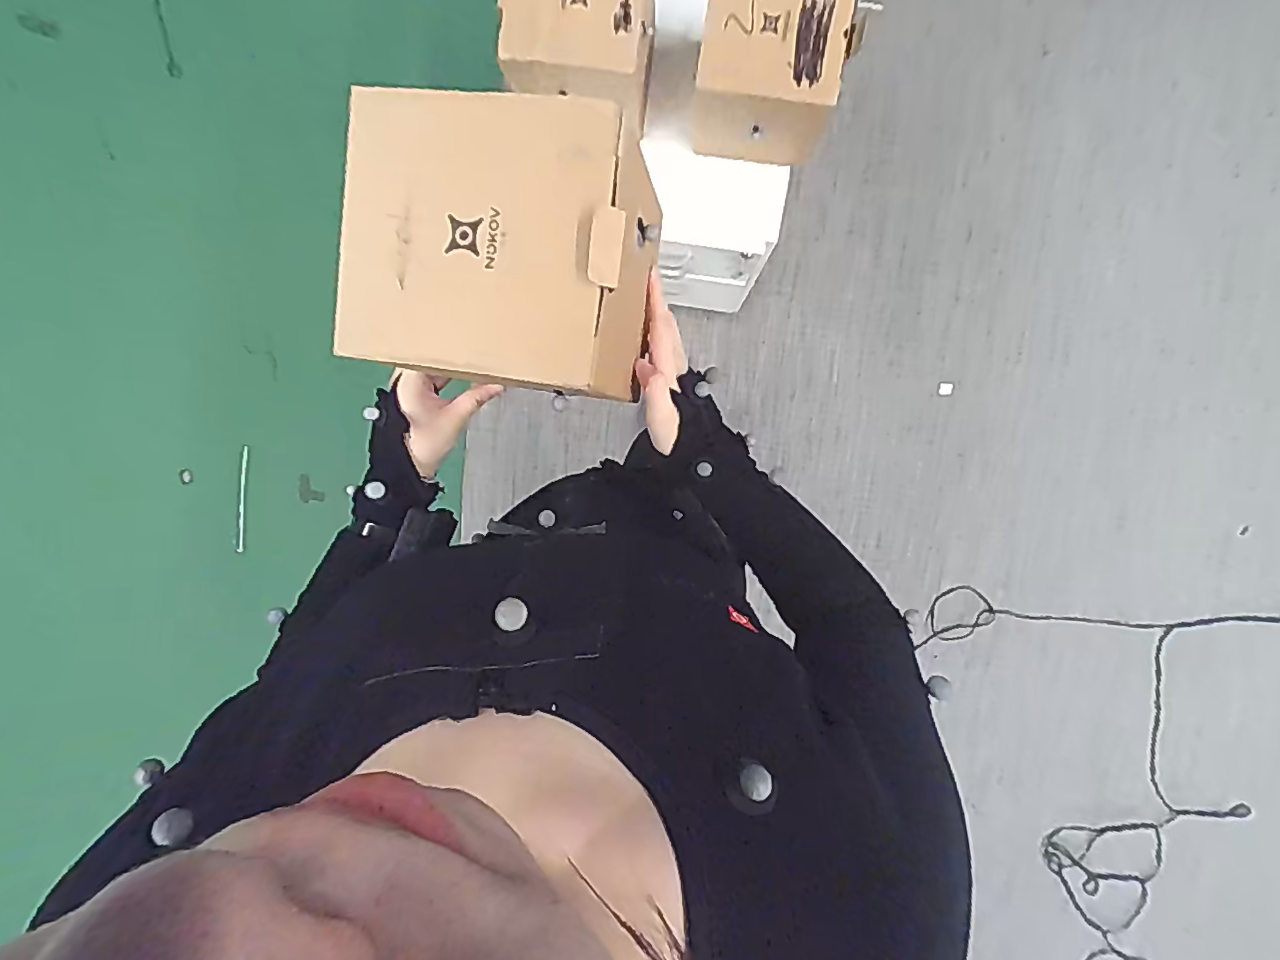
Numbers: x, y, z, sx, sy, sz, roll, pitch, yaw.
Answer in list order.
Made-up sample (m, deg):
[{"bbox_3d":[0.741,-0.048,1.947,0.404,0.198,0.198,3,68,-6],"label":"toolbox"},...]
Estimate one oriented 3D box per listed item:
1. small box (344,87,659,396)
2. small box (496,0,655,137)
[{"bbox_3d":[-0.087,-0.158,0.411,0.179,0.176,0.168,8,96,9],"label":"small box"},{"bbox_3d":[-0.078,-0.595,0.739,0.179,0.176,0.168,8,97,2],"label":"small box"}]
